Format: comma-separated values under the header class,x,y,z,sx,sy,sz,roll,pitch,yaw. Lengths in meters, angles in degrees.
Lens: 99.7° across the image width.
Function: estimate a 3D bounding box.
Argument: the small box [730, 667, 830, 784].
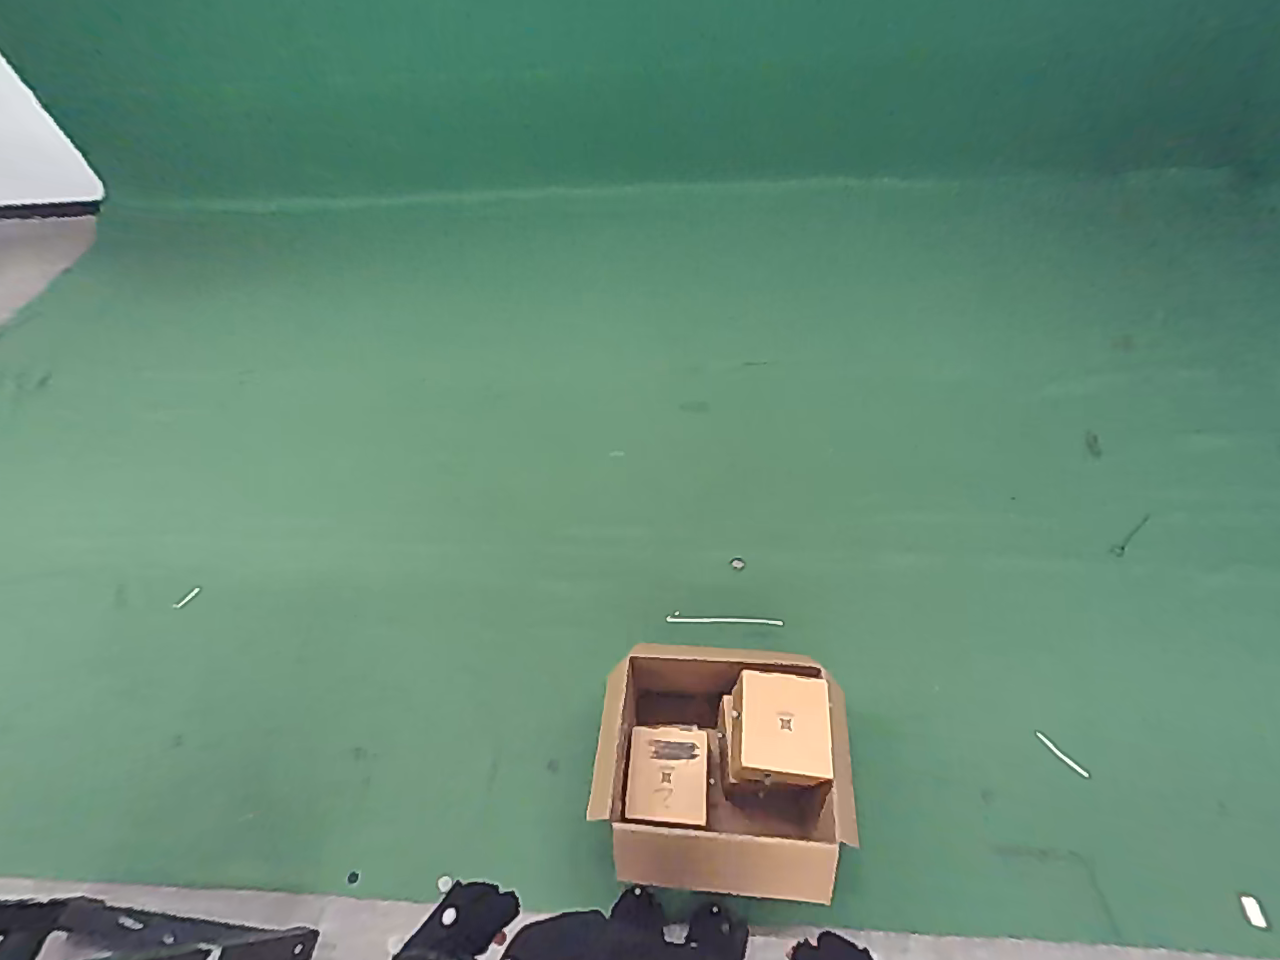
class,x,y,z,sx,sy,sz,roll,pitch,yaw
small box,0.272,0.494,1.077,0.168,0.176,0.179,5,55,6
